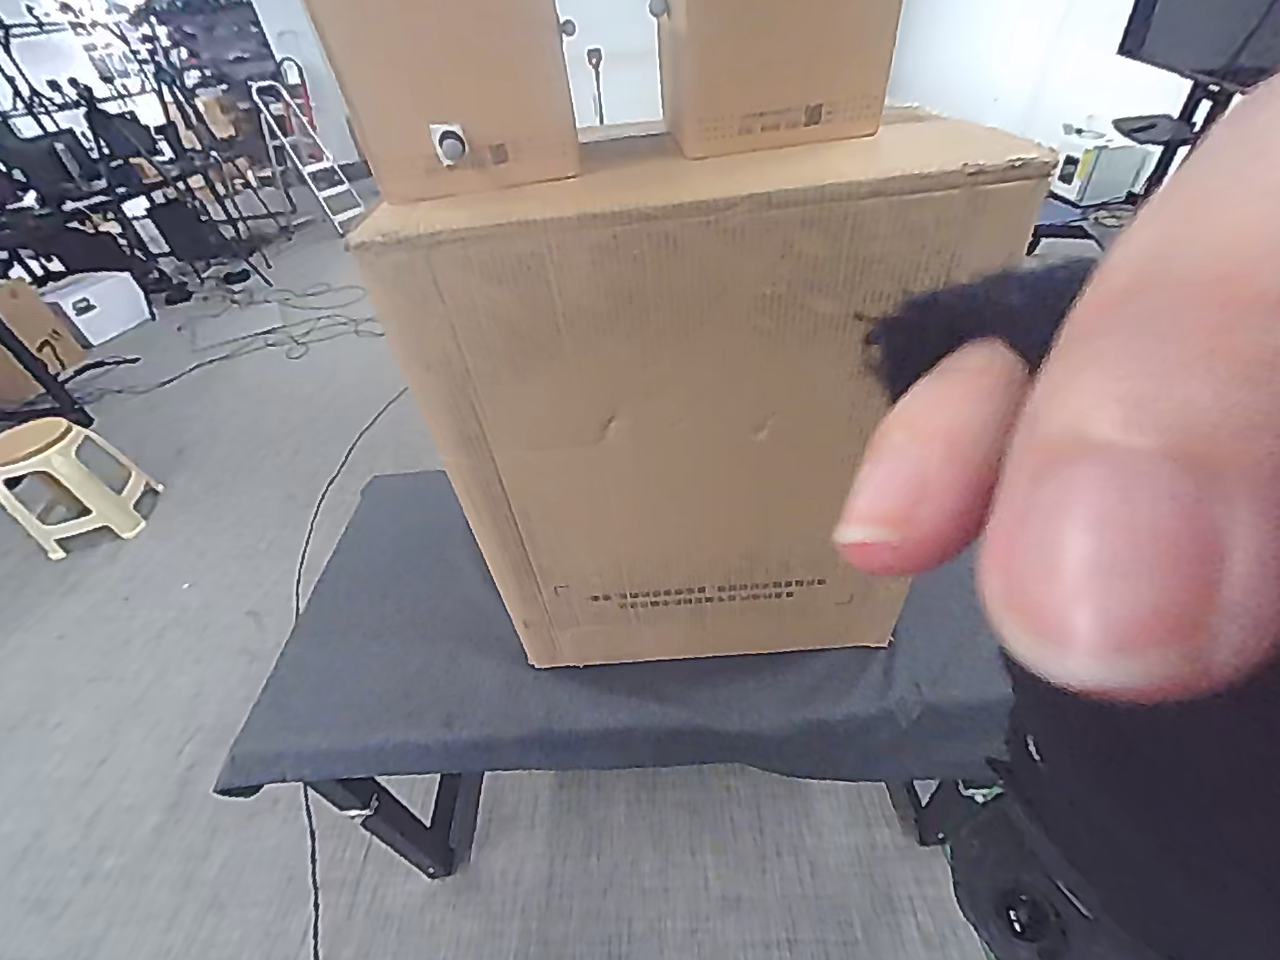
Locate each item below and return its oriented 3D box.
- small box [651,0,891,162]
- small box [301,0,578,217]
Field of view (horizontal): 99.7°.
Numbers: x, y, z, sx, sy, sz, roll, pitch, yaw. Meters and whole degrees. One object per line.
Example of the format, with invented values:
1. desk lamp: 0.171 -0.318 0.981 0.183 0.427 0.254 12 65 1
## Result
1. small box: 0.099 -0.391 0.466 0.168 0.176 0.179 -9 42 0
2. small box: -0.152 -0.347 0.464 0.168 0.176 0.179 -10 44 2
